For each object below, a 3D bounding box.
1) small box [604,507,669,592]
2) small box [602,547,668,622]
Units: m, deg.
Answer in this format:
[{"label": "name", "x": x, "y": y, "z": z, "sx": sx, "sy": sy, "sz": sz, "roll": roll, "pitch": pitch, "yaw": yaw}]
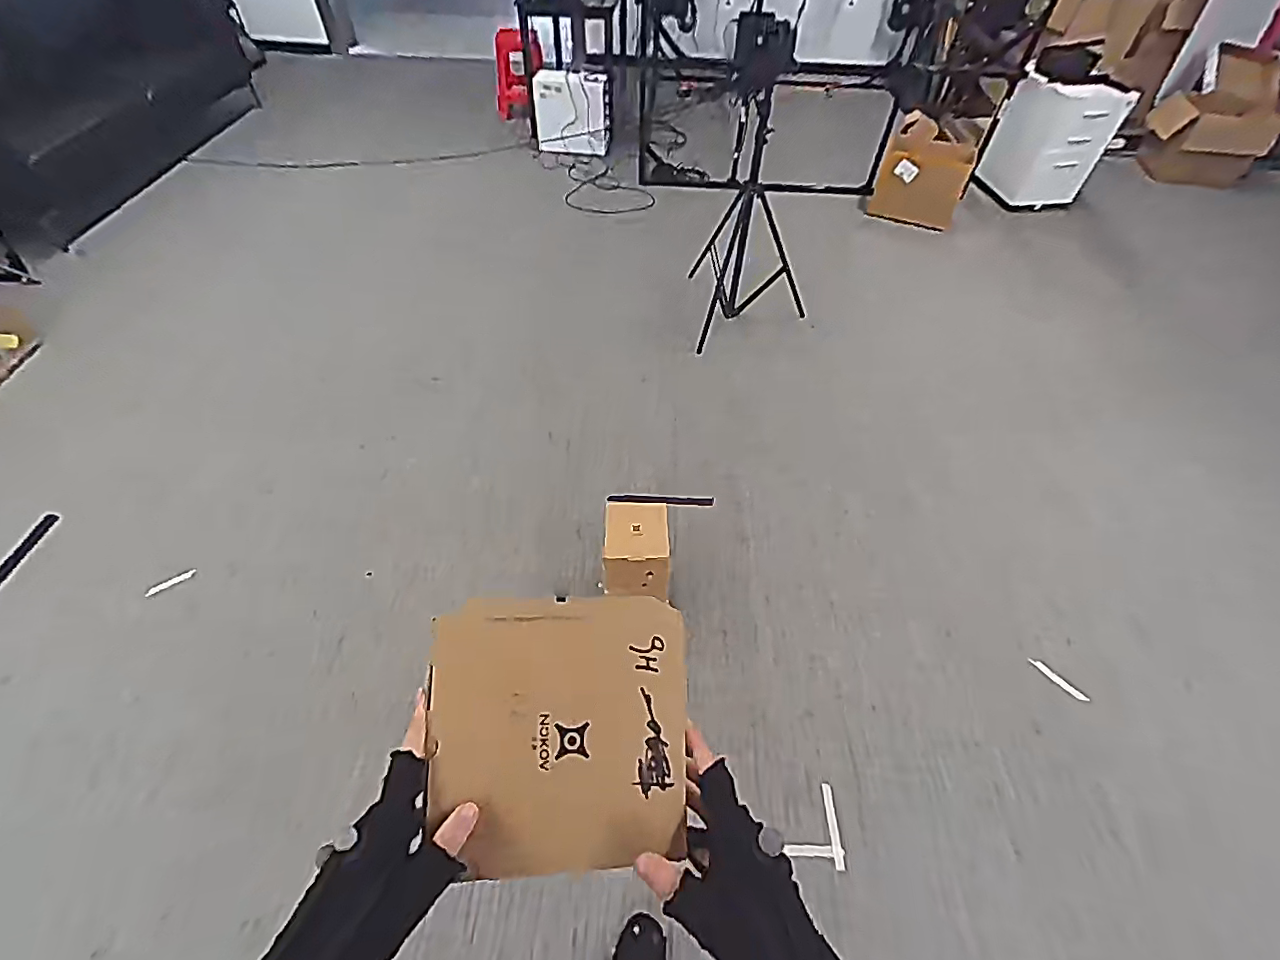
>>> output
[{"label": "small box", "x": -0.011, "y": 0.190, "z": 1.462, "sx": 0.168, "sy": 0.176, "sz": 0.179, "roll": 1, "pitch": 50, "yaw": -3}, {"label": "small box", "x": -0.018, "y": 0.302, "z": 1.579, "sx": 0.179, "sy": 0.176, "sz": 0.168, "roll": -4, "pitch": 51, "yaw": -3}]
